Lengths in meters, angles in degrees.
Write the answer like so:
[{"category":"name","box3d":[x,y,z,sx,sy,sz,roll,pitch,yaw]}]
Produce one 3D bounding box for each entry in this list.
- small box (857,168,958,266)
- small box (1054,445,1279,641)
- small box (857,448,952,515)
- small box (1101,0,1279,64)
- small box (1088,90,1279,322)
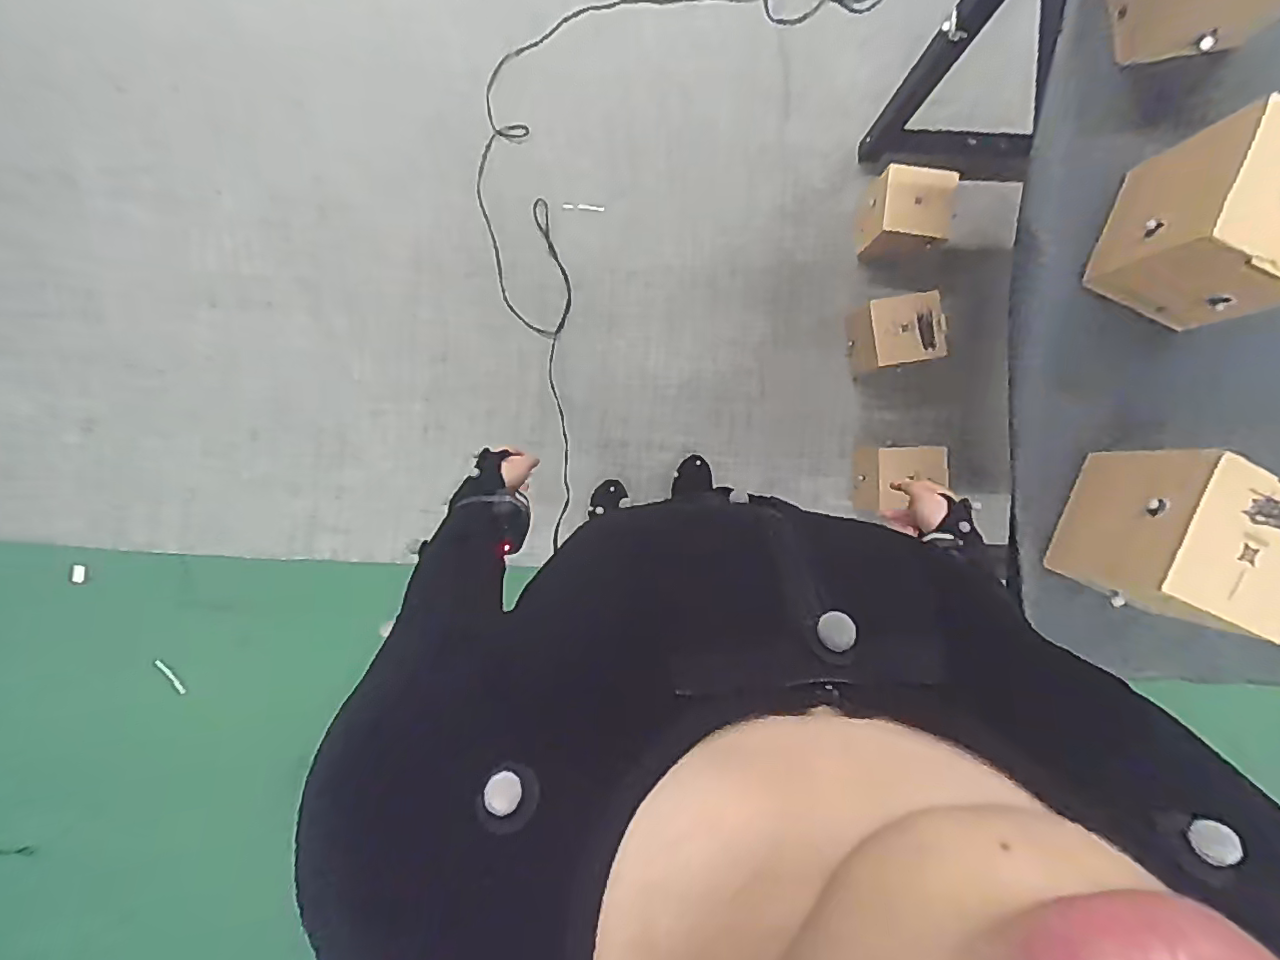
[{"category":"small box","box3d":[0.687,-0.676,1.406,0.179,0.176,0.168,6,90,-1]},{"category":"small box","box3d":[0.679,0.071,0.680,0.168,0.176,0.179,23,89,-3]},{"category":"small box","box3d":[0.679,0.004,1.411,0.179,0.176,0.168,-3,92,0]},{"category":"small box","box3d":[0.733,-0.671,0.675,0.179,0.176,0.168,-10,91,0]},{"category":"small box","box3d":[0.726,-0.323,0.681,0.168,0.176,0.179,22,89,-4]}]
